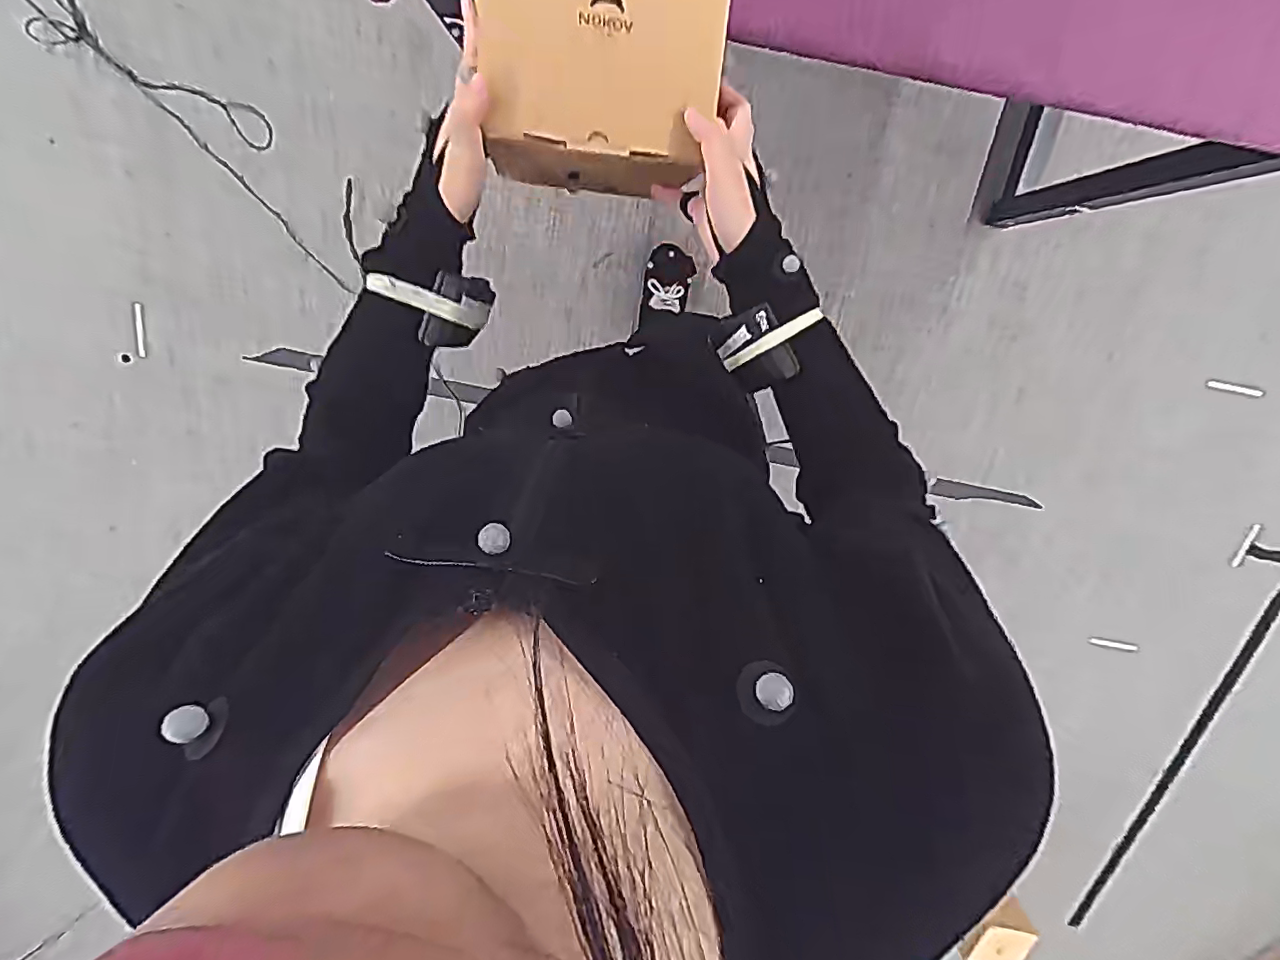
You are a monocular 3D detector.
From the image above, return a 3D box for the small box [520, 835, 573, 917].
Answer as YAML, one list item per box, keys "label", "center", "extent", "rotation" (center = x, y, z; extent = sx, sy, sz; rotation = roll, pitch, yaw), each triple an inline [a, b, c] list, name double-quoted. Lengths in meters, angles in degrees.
- label: "small box"
  center: [-0.333, 1.403, 1.924]
  extent: [0.168, 0.176, 0.179]
  rotation: [6, 110, -1]

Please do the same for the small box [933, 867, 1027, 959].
- label: "small box"
  center: [1.081, 1.401, 1.740]
  extent: [0.168, 0.176, 0.179]
  rotation: [14, 107, -5]

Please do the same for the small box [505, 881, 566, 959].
- label: "small box"
  center: [-0.339, 1.455, 1.767]
  extent: [0.168, 0.176, 0.179]
  rotation: [7, 109, -2]

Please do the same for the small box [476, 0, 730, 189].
- label: "small box"
  center: [-0.033, -0.346, 0.421]
  extent: [0.168, 0.176, 0.179]
  rotation: [2, 110, -10]
